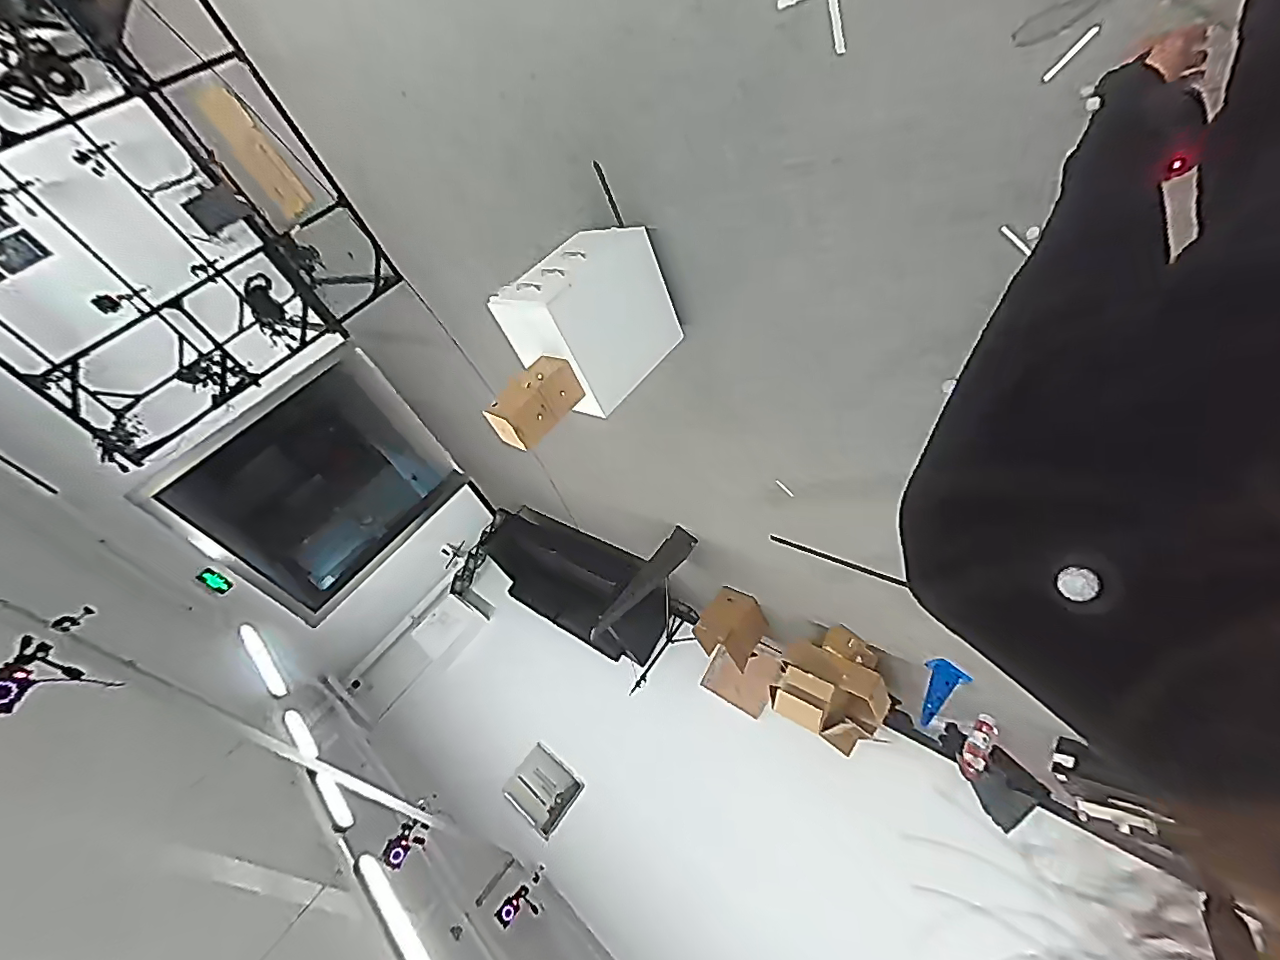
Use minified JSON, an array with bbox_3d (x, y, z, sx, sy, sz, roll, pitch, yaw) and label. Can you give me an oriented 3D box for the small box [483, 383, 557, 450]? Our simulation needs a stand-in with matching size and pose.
[{"bbox_3d":[-0.448,-0.244,2.035,0.179,0.176,0.168,22,151,39],"label":"small box"}]
